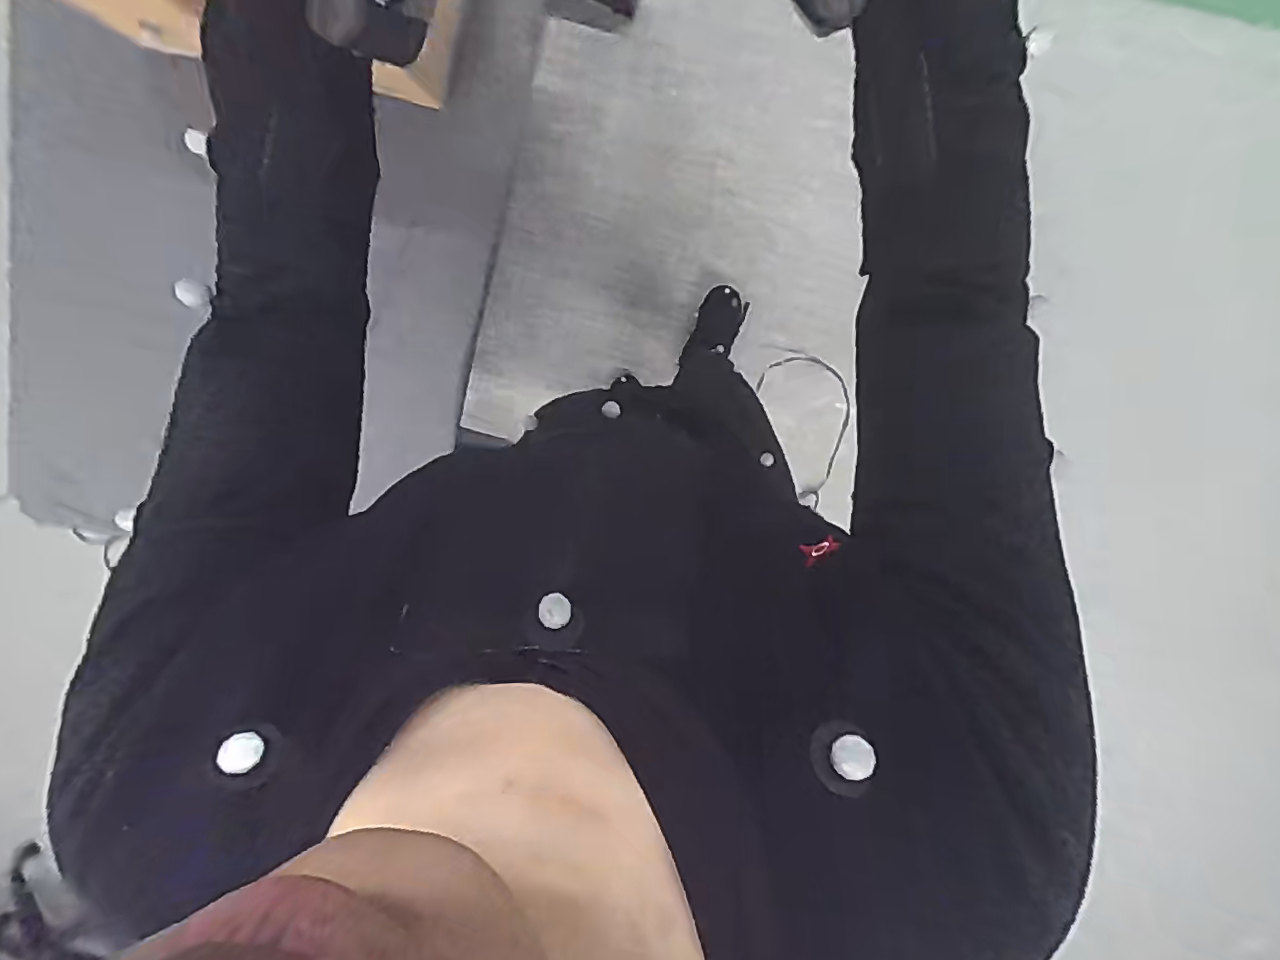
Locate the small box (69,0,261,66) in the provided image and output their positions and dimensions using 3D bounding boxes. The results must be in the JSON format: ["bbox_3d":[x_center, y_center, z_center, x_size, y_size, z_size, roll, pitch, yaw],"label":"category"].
[{"bbox_3d":[-0.521,-0.574,0.551,0.168,0.176,0.179,12,105,1],"label":"small box"}]
